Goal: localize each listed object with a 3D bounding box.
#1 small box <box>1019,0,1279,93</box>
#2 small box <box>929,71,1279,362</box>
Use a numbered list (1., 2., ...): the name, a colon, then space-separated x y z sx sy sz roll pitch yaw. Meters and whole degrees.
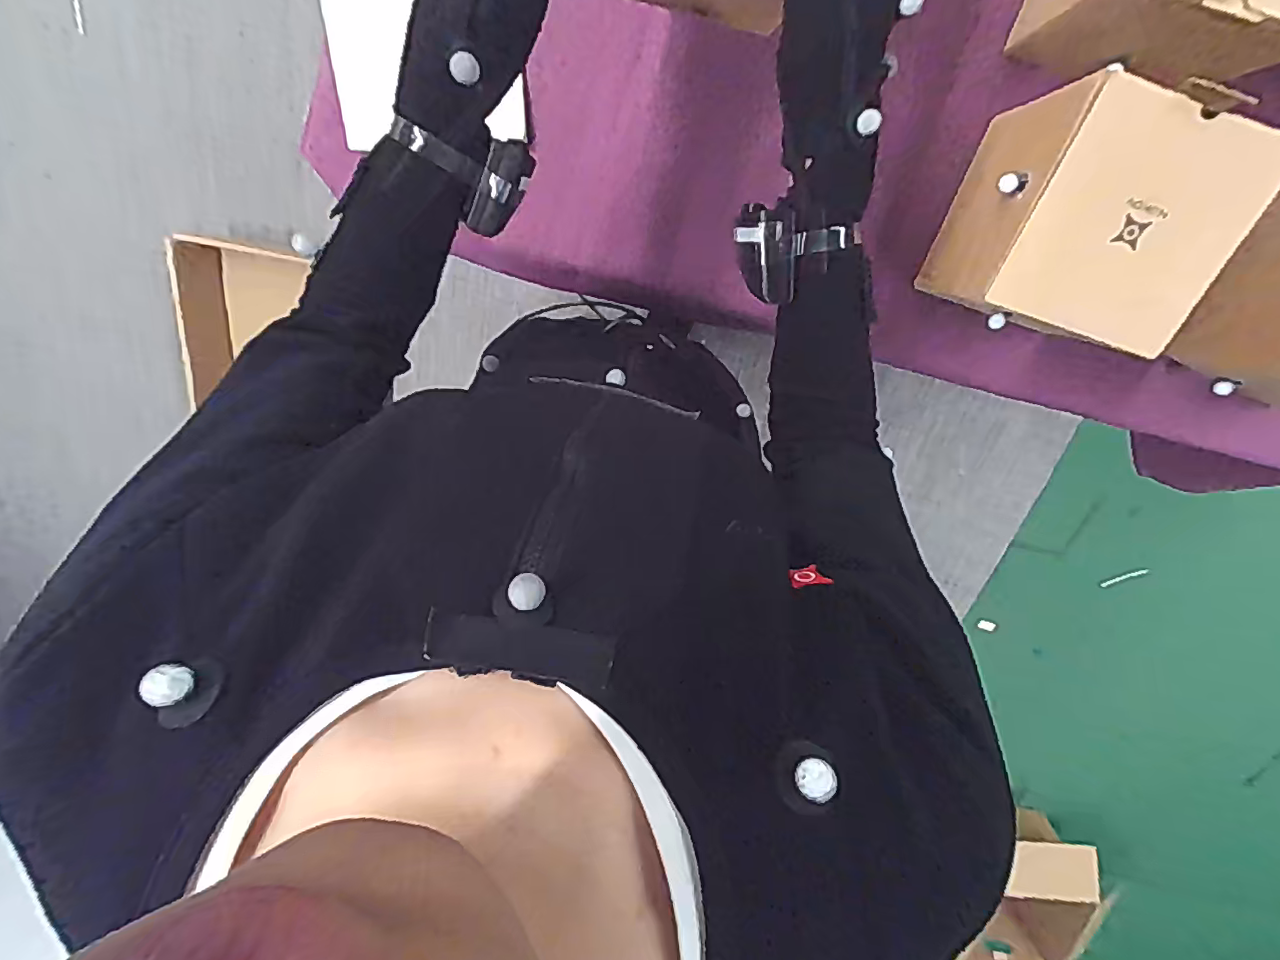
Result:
1. small box: 0.446 -0.435 0.417 0.168 0.176 0.179 16 114 -2
2. small box: 0.407 -0.236 0.510 0.168 0.176 0.179 19 115 -3
